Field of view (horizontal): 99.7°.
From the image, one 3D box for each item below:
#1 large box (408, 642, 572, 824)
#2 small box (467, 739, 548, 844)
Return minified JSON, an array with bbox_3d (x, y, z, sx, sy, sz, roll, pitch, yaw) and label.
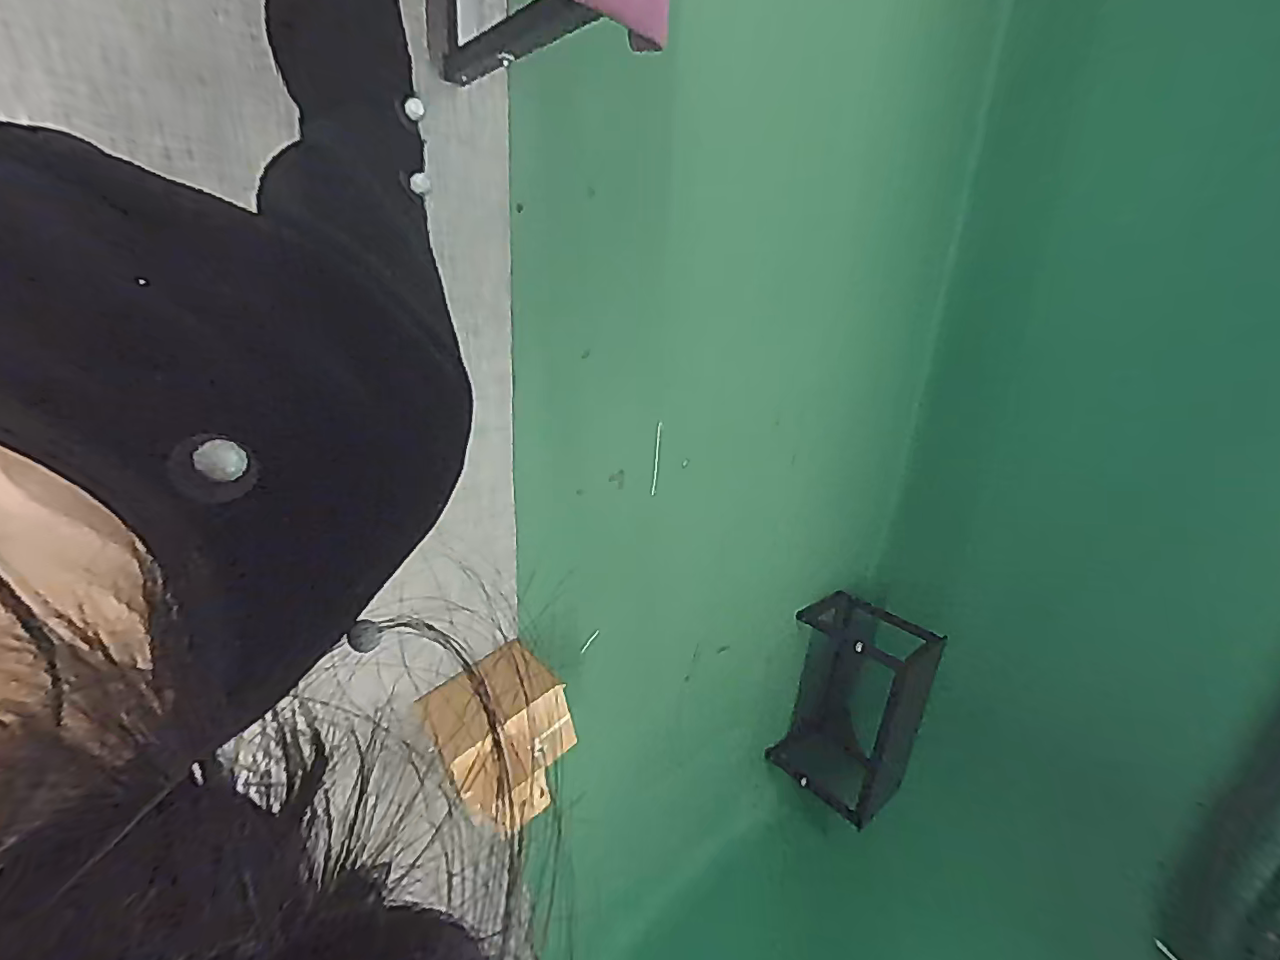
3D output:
[{"bbox_3d":[-0.505,0.843,1.853,0.408,0.320,0.320,-29,126,-34],"label":"large box"},{"bbox_3d":[-0.405,0.930,1.628,0.179,0.176,0.168,-24,121,-35],"label":"small box"}]
